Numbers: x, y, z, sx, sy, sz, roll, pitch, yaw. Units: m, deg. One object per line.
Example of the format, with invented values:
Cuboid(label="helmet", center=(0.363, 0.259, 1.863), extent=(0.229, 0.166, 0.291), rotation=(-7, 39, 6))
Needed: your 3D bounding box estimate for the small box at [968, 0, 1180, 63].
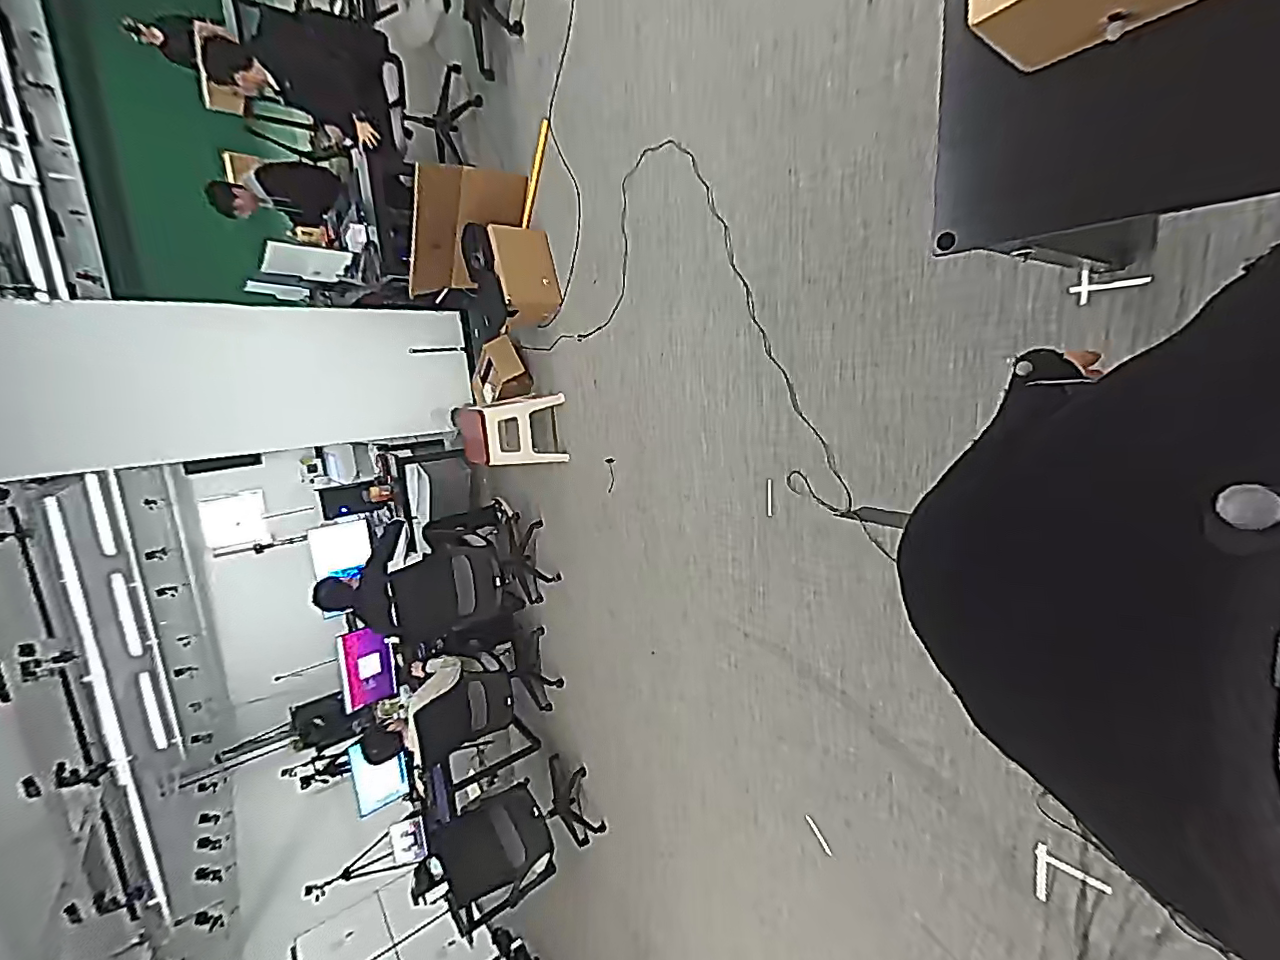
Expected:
Cuboid(label="small box", center=(0.429, -0.534, 0.496), extent=(0.179, 0.176, 0.168), rotation=(7, 105, 50))
